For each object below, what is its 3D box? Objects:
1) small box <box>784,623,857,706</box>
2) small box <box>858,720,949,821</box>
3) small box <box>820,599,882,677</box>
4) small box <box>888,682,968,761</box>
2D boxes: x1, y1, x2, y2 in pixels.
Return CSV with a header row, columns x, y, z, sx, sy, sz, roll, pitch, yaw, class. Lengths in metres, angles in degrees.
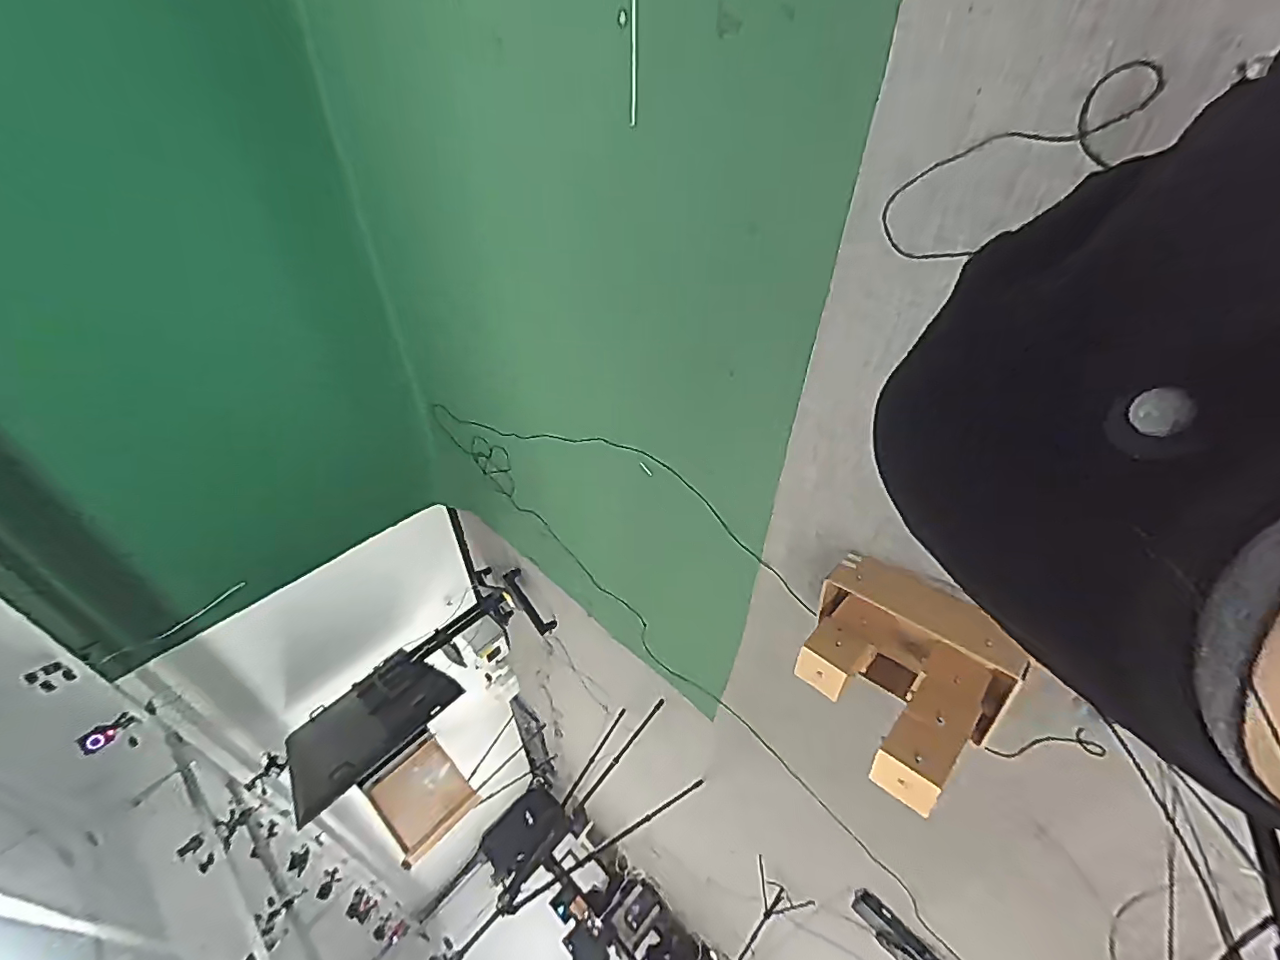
x,y,z,sx,sy,sz,roll,pitch,yaw,class
0.629,0.634,1.880,0.168,0.176,0.179,31,138,33,small box
0.775,0.843,1.593,0.179,0.176,0.168,26,132,35,small box
0.752,0.568,1.968,0.179,0.176,0.168,30,137,32,small box
0.886,0.773,1.687,0.179,0.176,0.168,31,136,33,small box
